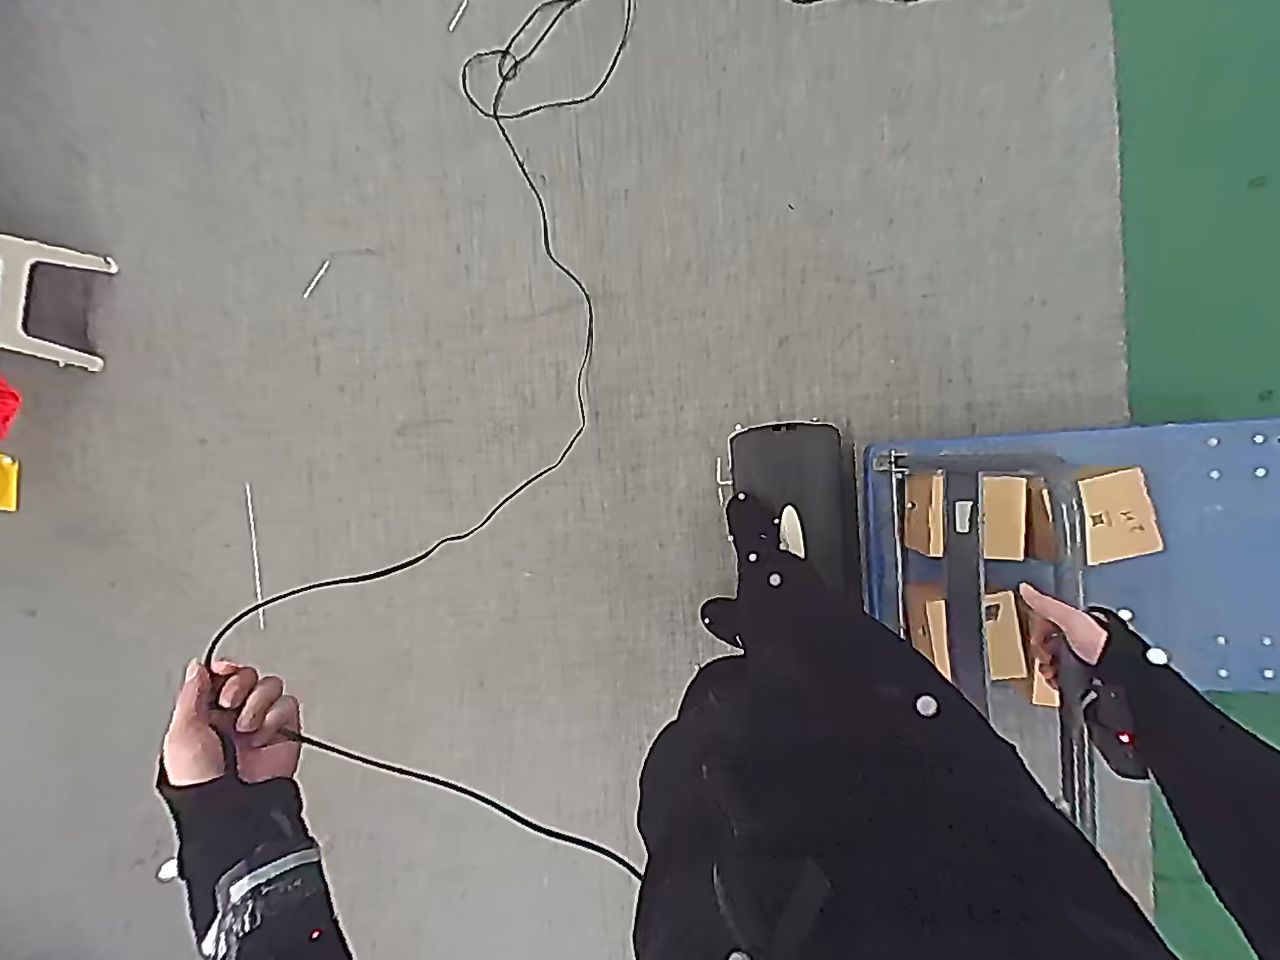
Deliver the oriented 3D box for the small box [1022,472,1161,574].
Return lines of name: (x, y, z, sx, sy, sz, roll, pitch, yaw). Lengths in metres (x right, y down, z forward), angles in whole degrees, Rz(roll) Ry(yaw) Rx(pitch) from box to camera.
small box: (0.891, 0.083, 1.108, 0.179, 0.176, 0.168, -15, 90, 11)

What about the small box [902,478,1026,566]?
small box: (0.680, 0.081, 1.151, 0.179, 0.176, 0.168, 1, 92, 11)
